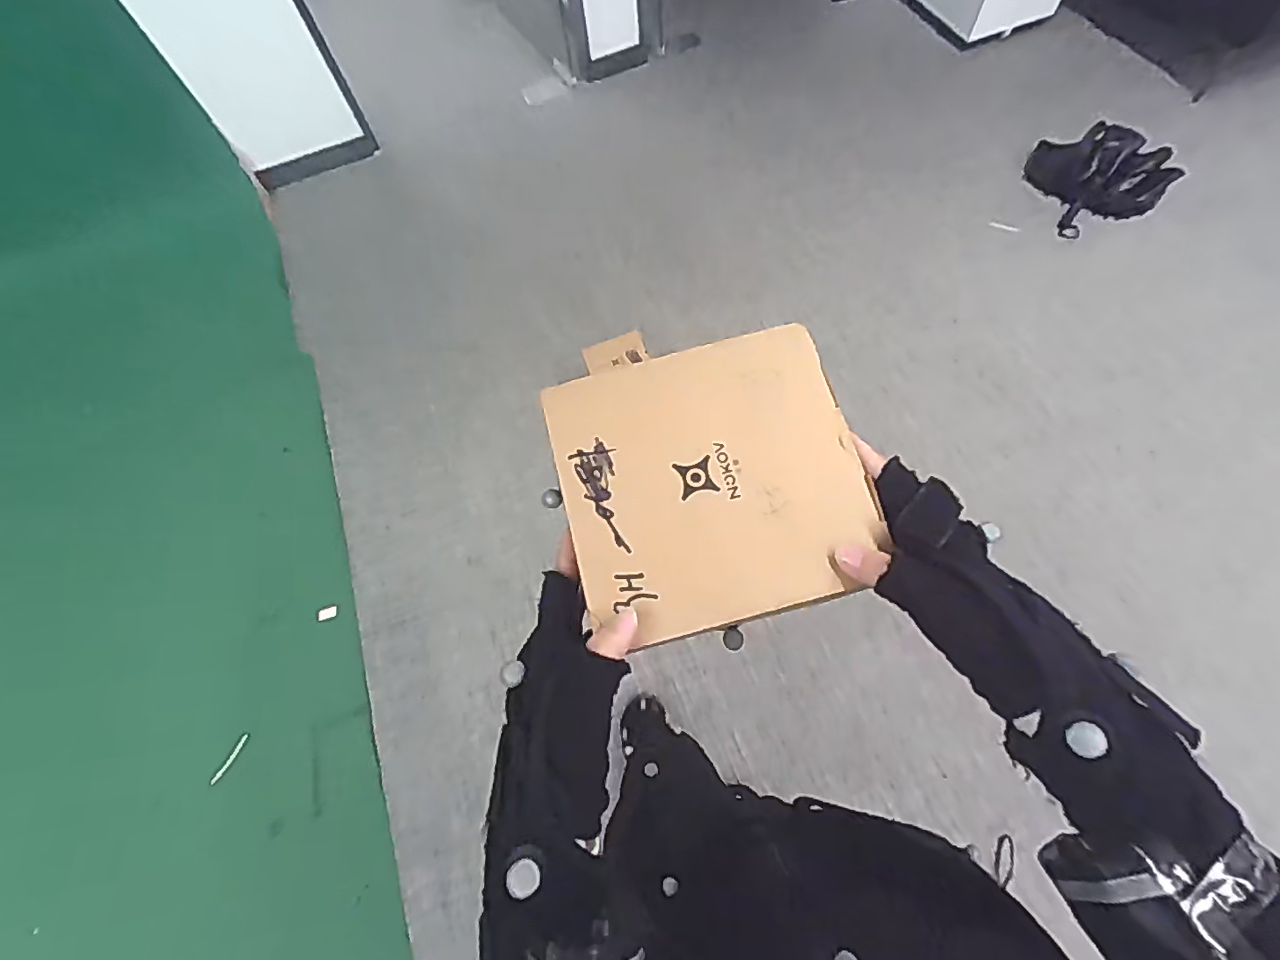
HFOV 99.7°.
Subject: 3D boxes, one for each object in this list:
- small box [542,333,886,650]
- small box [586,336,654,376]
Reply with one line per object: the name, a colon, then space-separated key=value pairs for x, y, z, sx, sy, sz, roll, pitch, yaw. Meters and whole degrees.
small box: x=0.041 y=0.022 z=0.399 sx=0.179 sy=0.176 sz=0.168 roll=-14 pitch=71 yaw=-2
small box: x=-0.044 y=-0.284 z=1.570 sx=0.179 sy=0.176 sz=0.168 roll=-17 pitch=63 yaw=-3
